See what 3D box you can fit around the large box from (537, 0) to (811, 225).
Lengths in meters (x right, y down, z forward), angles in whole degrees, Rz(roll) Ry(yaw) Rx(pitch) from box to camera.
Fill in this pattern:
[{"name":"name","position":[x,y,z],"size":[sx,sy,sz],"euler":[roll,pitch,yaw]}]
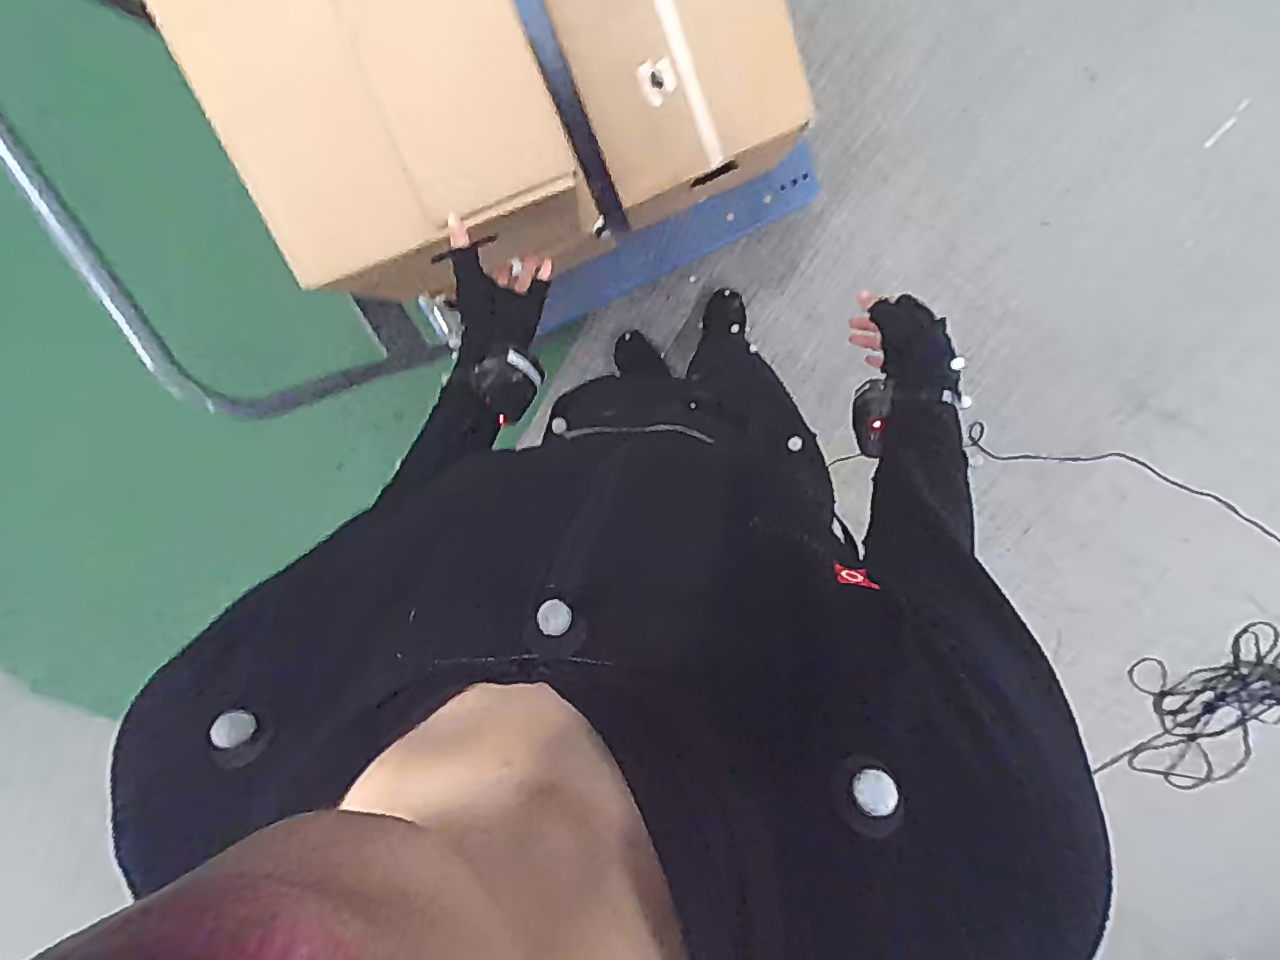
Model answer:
[{"name":"large box","position":[0.037,-0.704,0.901],"size":[0.320,0.320,0.408],"euler":[-21,108,8]}]
